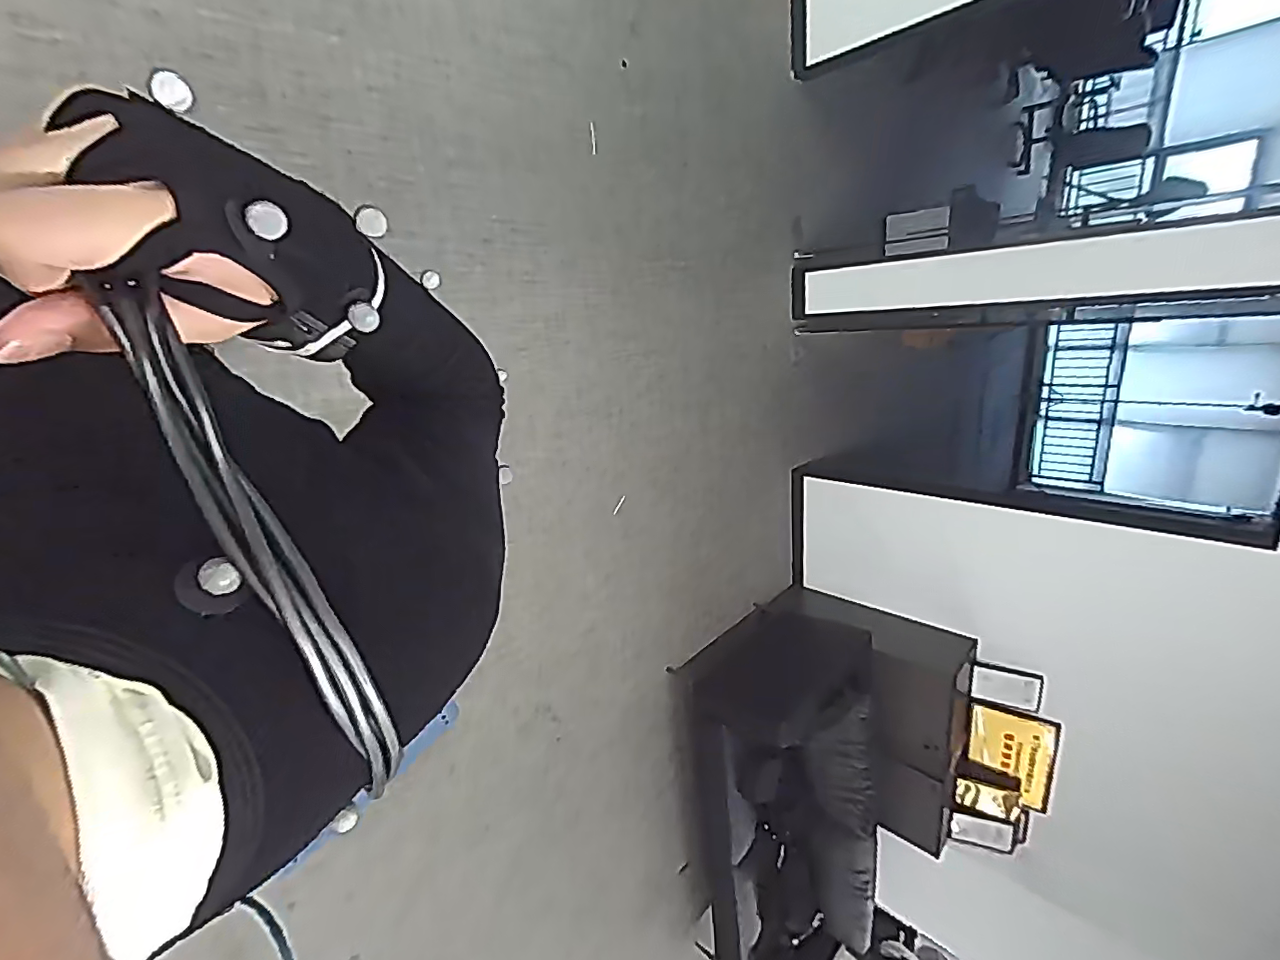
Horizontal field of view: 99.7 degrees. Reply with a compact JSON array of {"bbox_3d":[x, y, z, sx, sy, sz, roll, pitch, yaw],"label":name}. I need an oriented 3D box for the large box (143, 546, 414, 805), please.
[{"bbox_3d":[-0.802,0.420,1.227,0.320,0.320,0.408,-38,126,-35],"label":"large box"}]
